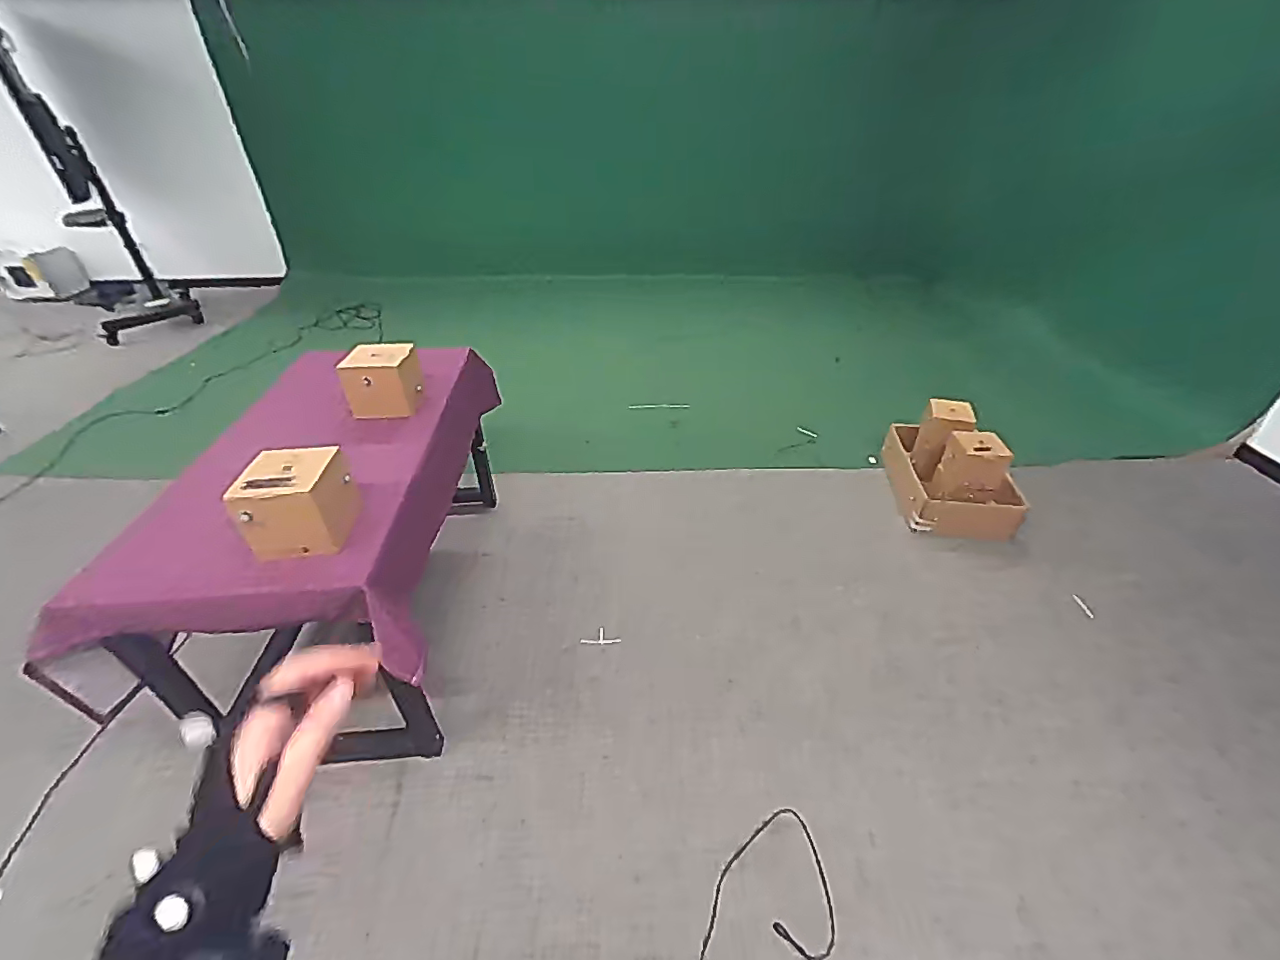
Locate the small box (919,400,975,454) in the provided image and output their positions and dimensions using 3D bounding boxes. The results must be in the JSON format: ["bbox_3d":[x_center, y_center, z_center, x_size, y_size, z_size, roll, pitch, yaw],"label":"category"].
[{"bbox_3d":[1.361,-0.232,2.408,0.168,0.176,0.179,10,40,14],"label":"small box"}]

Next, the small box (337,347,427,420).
[{"bbox_3d":[-0.770,-0.289,1.632,0.179,0.176,0.168,-1,37,-1],"label":"small box"}]

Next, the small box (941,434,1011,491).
[{"bbox_3d":[1.353,-0.070,2.189,0.168,0.176,0.179,3,35,6],"label":"small box"}]
